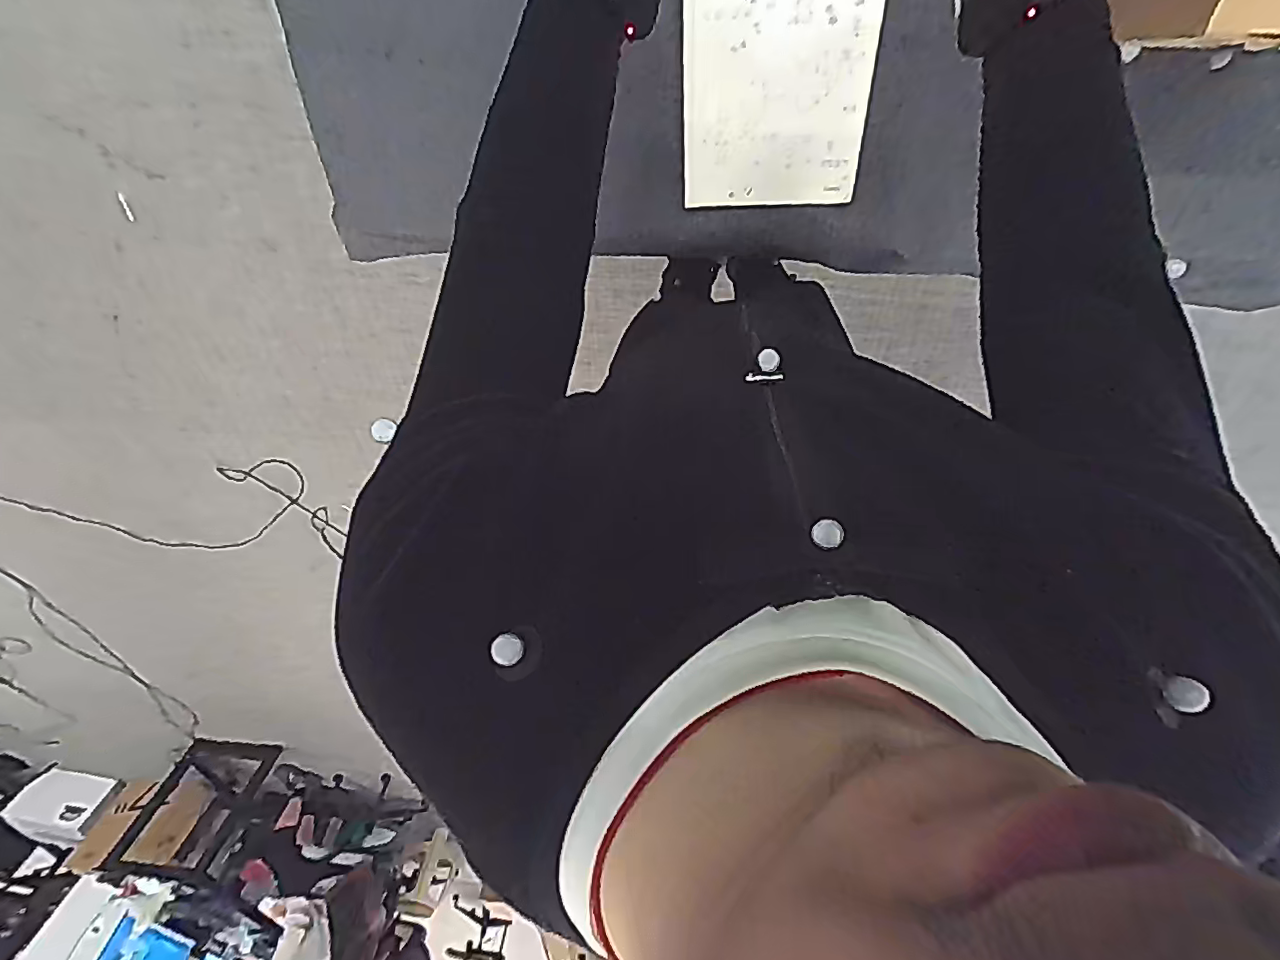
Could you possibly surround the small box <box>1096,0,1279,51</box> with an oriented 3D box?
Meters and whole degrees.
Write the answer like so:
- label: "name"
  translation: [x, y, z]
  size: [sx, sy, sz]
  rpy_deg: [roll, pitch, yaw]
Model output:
- label: "small box"
  translation: [0.509, -0.444, 0.416]
  size: [0.168, 0.176, 0.179]
  rpy_deg: [4, 129, 4]
